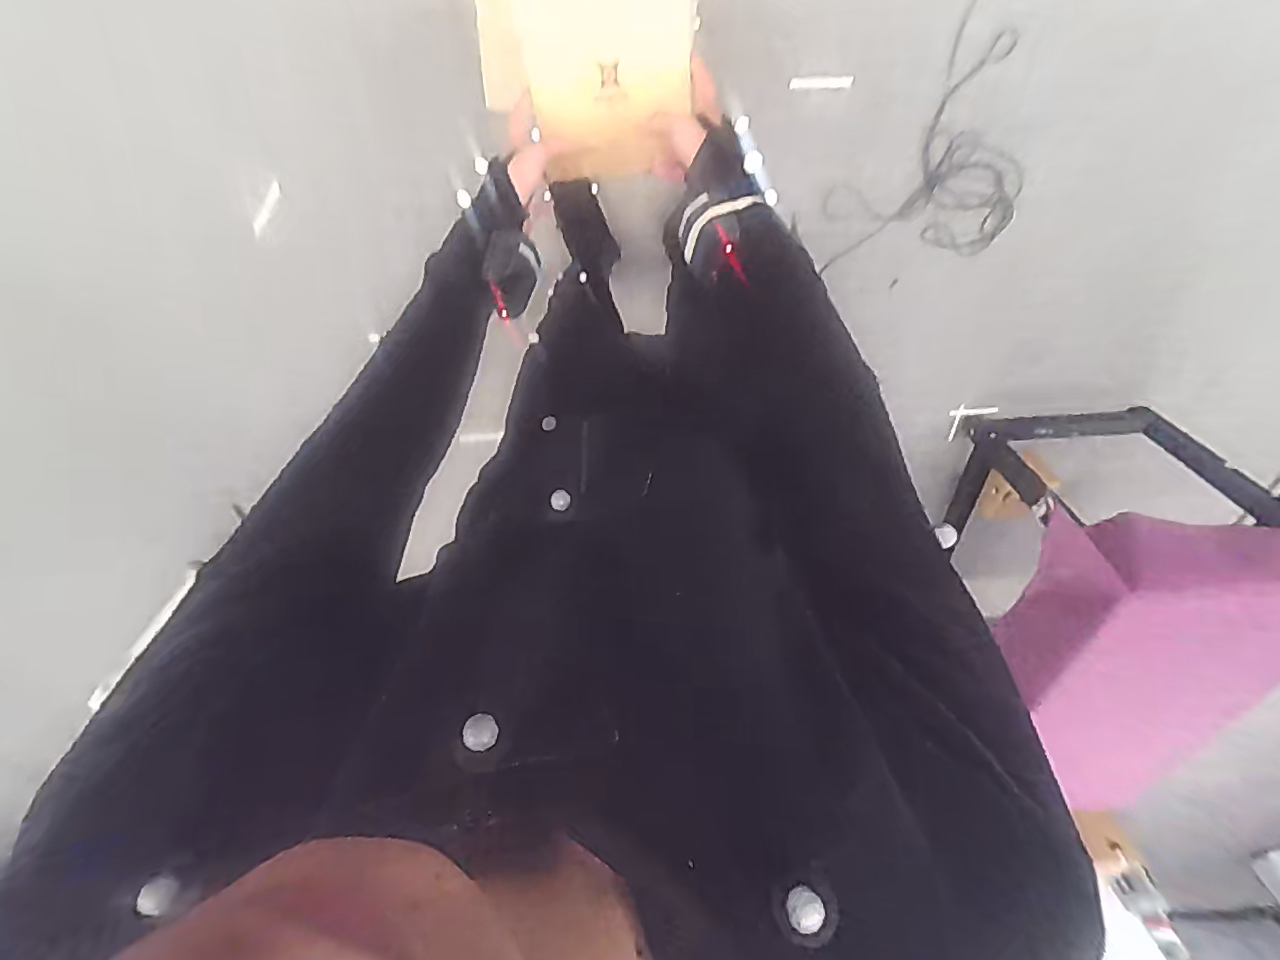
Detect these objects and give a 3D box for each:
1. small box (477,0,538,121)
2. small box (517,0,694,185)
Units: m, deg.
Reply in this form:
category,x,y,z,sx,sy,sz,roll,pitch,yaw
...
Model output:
category,x,y,z,sx,sy,sz,roll,pitch,yaw
small box,-0.171,-0.735,0.947,0.179,0.176,0.168,2,128,-2
small box,-0.029,-0.454,0.600,0.168,0.176,0.179,-3,137,4
